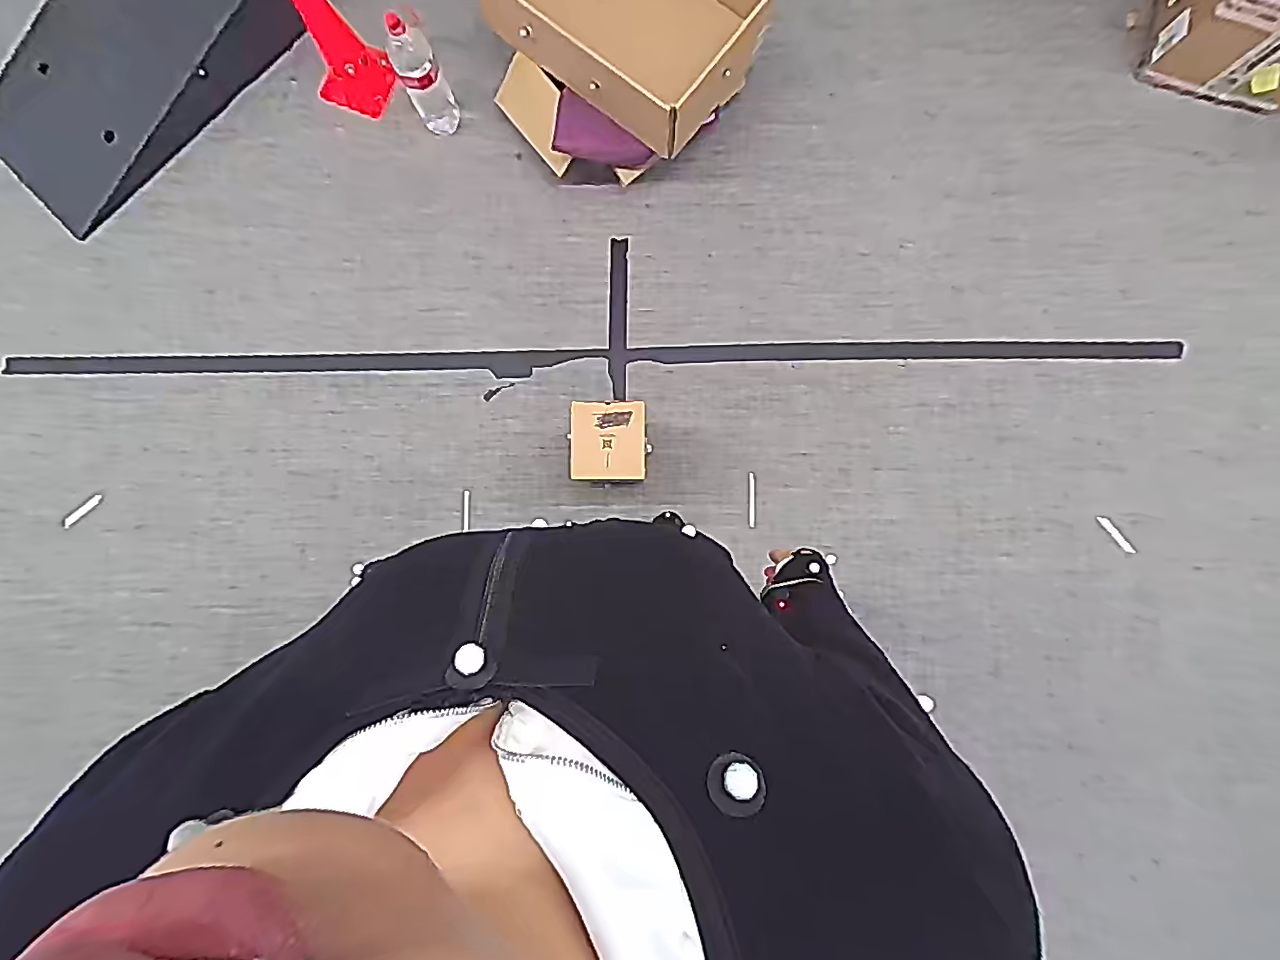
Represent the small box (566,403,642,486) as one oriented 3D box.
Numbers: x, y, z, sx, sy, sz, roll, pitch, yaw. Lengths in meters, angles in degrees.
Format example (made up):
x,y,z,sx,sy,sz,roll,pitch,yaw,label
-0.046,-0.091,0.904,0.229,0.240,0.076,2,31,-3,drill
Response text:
x,y,z,sx,sy,sz,roll,pitch,yaw,label
-0.081,-0.078,1.276,0.168,0.176,0.179,1,88,0,small box
